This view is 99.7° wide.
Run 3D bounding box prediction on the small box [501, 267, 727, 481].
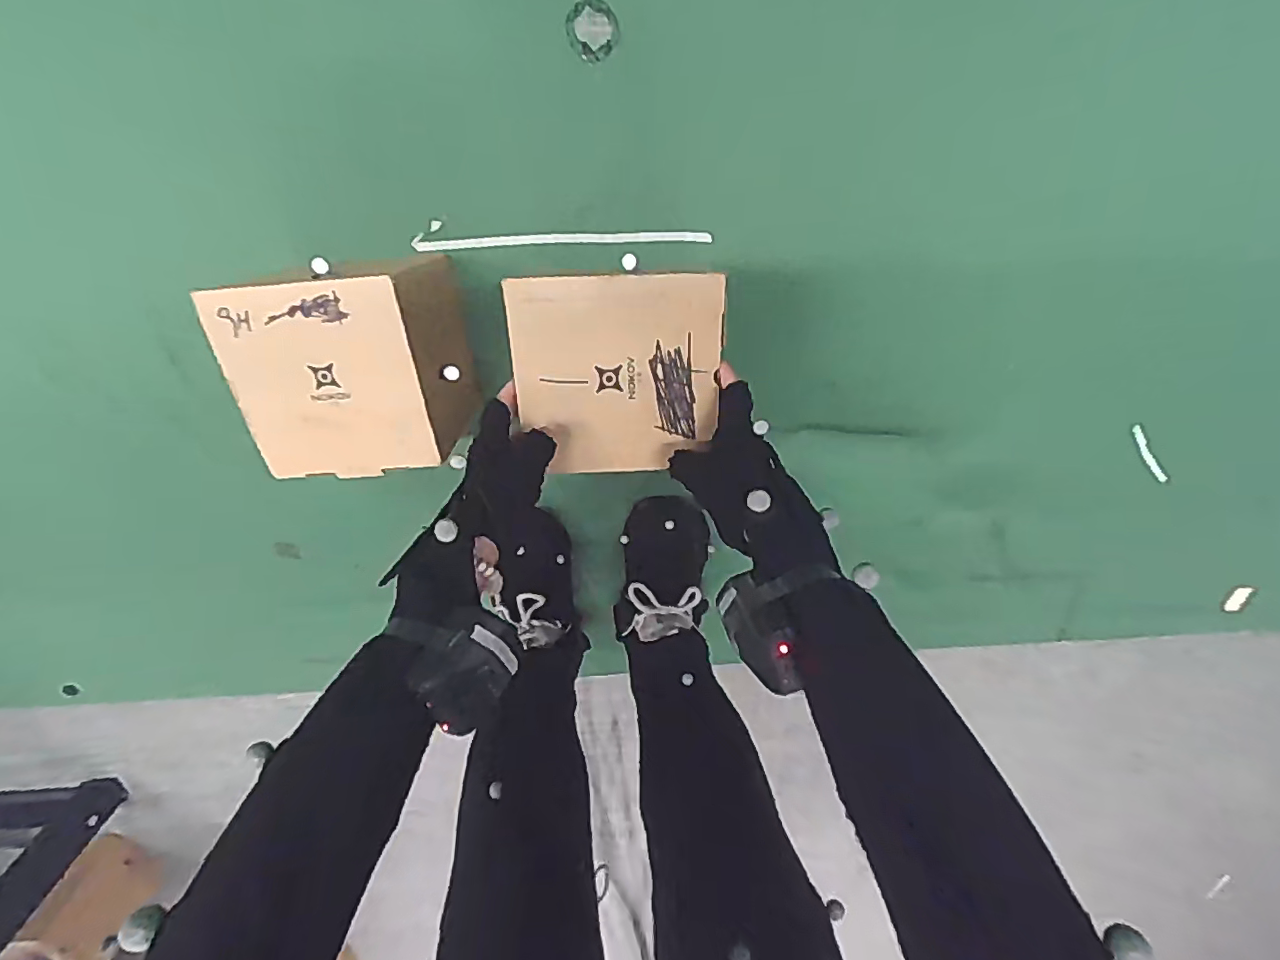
[{"bbox_3d":[-0.022,-0.110,0.516,0.179,0.176,0.168,-2,114,-2],"label":"small box"}]
